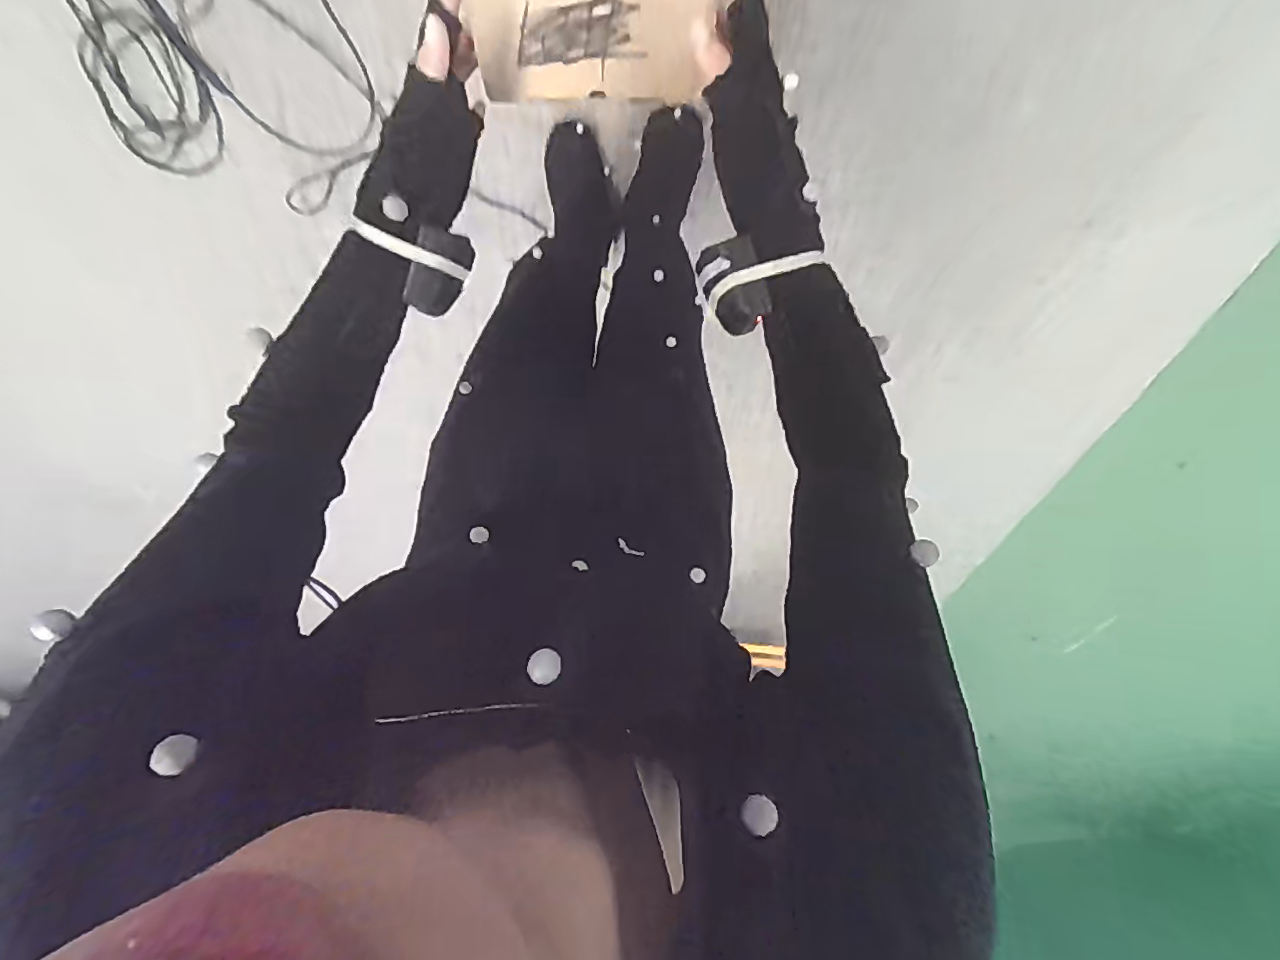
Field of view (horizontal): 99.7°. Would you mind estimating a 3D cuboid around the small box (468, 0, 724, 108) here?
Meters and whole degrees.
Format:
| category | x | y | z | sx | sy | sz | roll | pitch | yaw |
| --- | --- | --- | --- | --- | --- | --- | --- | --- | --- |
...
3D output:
| category | x | y | z | sx | sy | sz | roll | pitch | yaw |
| --- | --- | --- | --- | --- | --- | --- | --- | --- | --- |
| small box | -0.026 | -0.384 | 0.361 | 0.168 | 0.176 | 0.179 | 0 | 146 | 0 |
